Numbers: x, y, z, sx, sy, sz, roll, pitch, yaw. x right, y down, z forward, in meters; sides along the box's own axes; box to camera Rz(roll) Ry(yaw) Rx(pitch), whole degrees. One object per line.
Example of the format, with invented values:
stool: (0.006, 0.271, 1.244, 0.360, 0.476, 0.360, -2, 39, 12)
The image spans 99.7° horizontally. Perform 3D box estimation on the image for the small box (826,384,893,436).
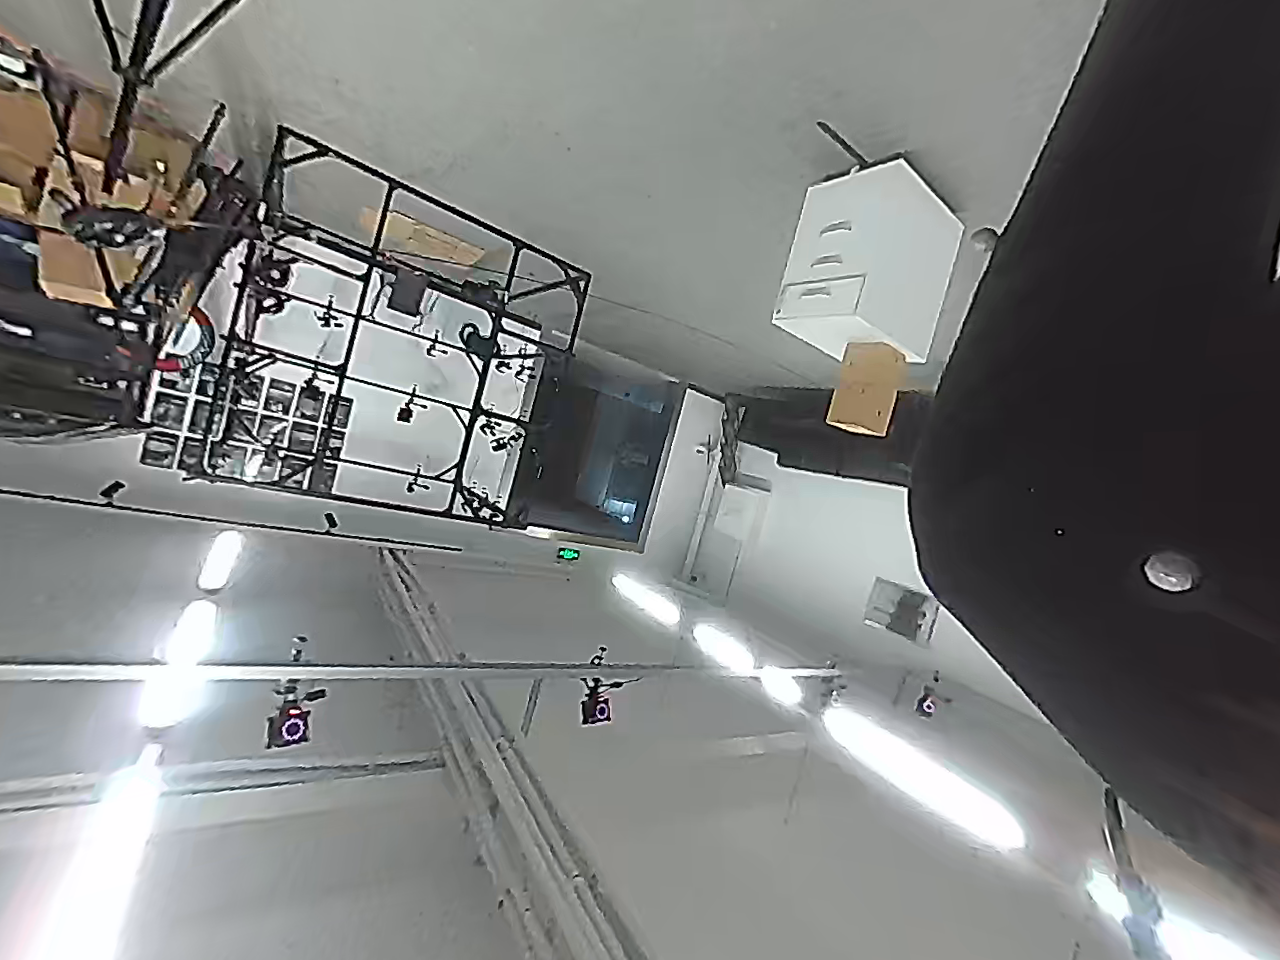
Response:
small box: (0.885, -0.284, 2.179, 0.179, 0.176, 0.168, 12, -175, -33)

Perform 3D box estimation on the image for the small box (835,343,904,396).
small box: (0.923, -0.444, 2.168, 0.168, 0.176, 0.179, 13, -176, -38)
